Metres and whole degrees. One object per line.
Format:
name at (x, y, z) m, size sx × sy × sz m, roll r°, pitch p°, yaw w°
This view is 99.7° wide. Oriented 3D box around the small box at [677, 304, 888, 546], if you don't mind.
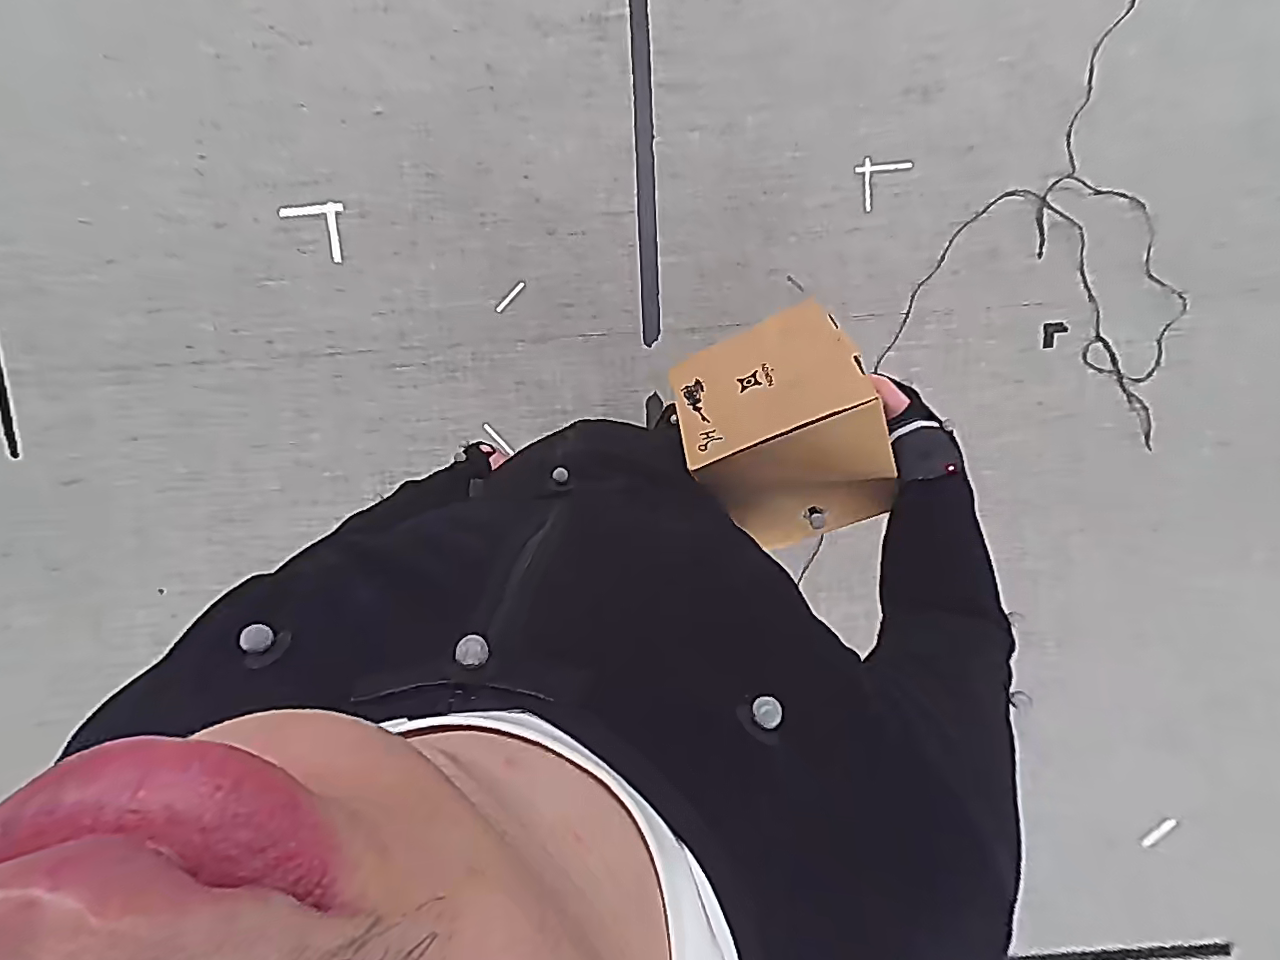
small box at (0.159, -0.054, 0.599) m, size 0.179 × 0.168 × 0.176 m, roll -21°, pitch 134°, yaw 16°
